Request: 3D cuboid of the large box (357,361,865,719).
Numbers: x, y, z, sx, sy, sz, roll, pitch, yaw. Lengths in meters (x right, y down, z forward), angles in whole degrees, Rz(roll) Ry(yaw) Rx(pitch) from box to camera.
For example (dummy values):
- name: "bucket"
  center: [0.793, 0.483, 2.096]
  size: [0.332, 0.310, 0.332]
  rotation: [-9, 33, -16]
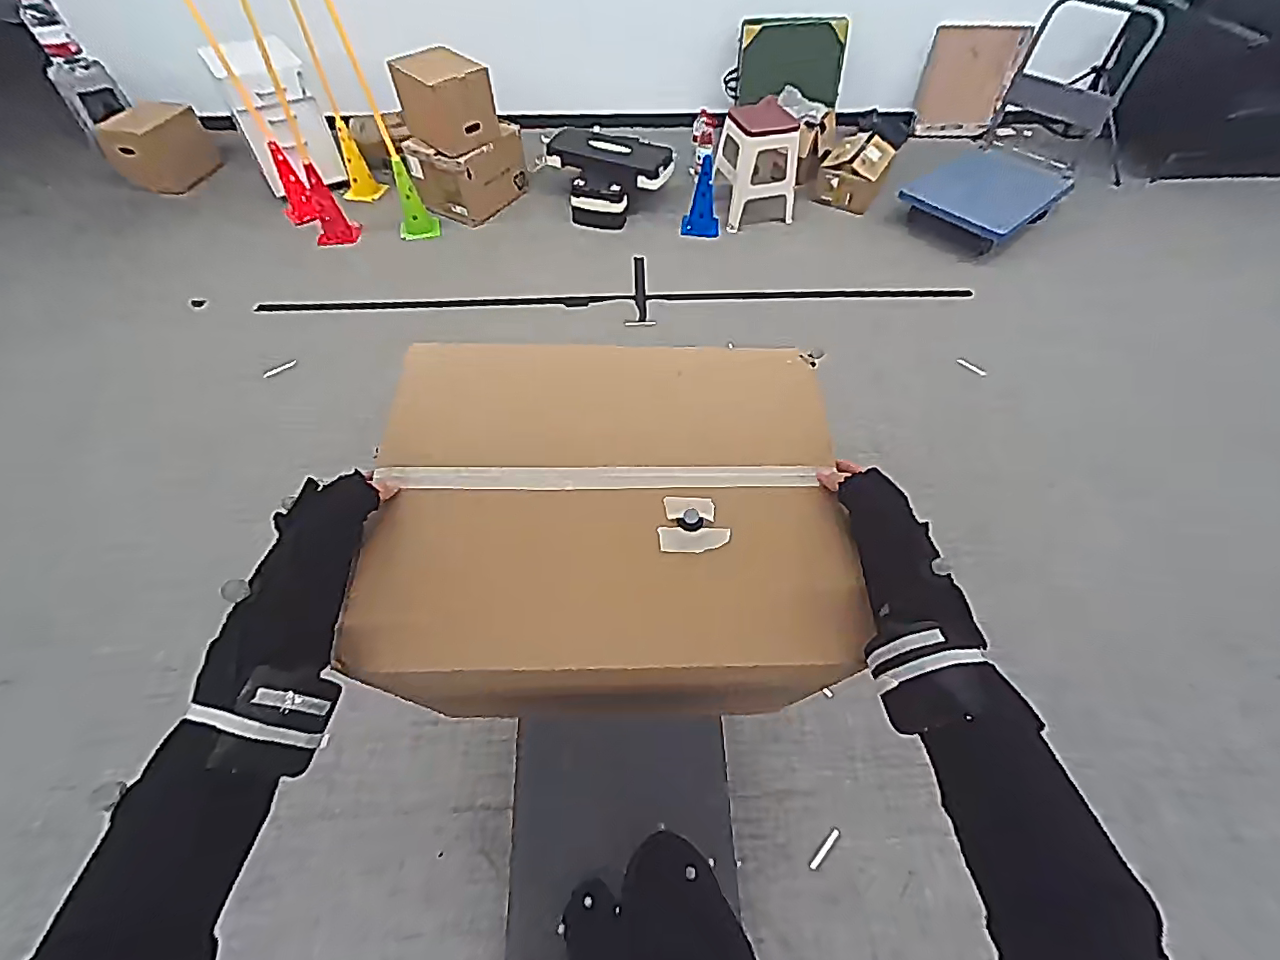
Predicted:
- name: "large box"
  center: [-0.030, 0.083, 0.618]
  size: [0.408, 0.320, 0.320]
  rotation: [0, 60, -3]
